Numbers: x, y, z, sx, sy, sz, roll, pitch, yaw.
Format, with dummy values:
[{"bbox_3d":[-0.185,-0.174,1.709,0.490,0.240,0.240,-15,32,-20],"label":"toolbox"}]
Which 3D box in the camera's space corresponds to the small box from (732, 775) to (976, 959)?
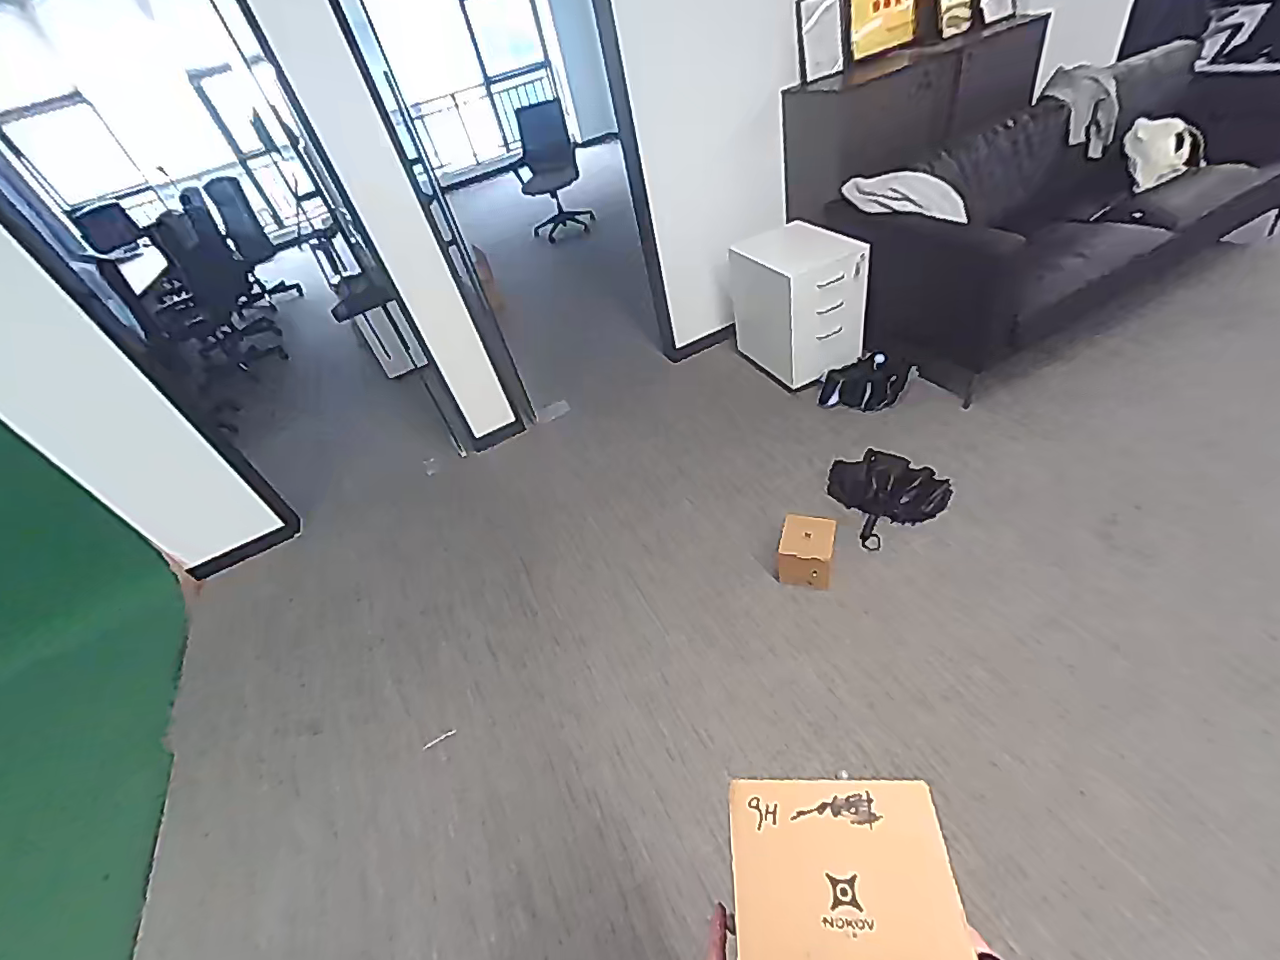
[{"bbox_3d":[0.170,0.372,0.459,0.168,0.176,0.179,-5,45,10],"label":"small box"}]
